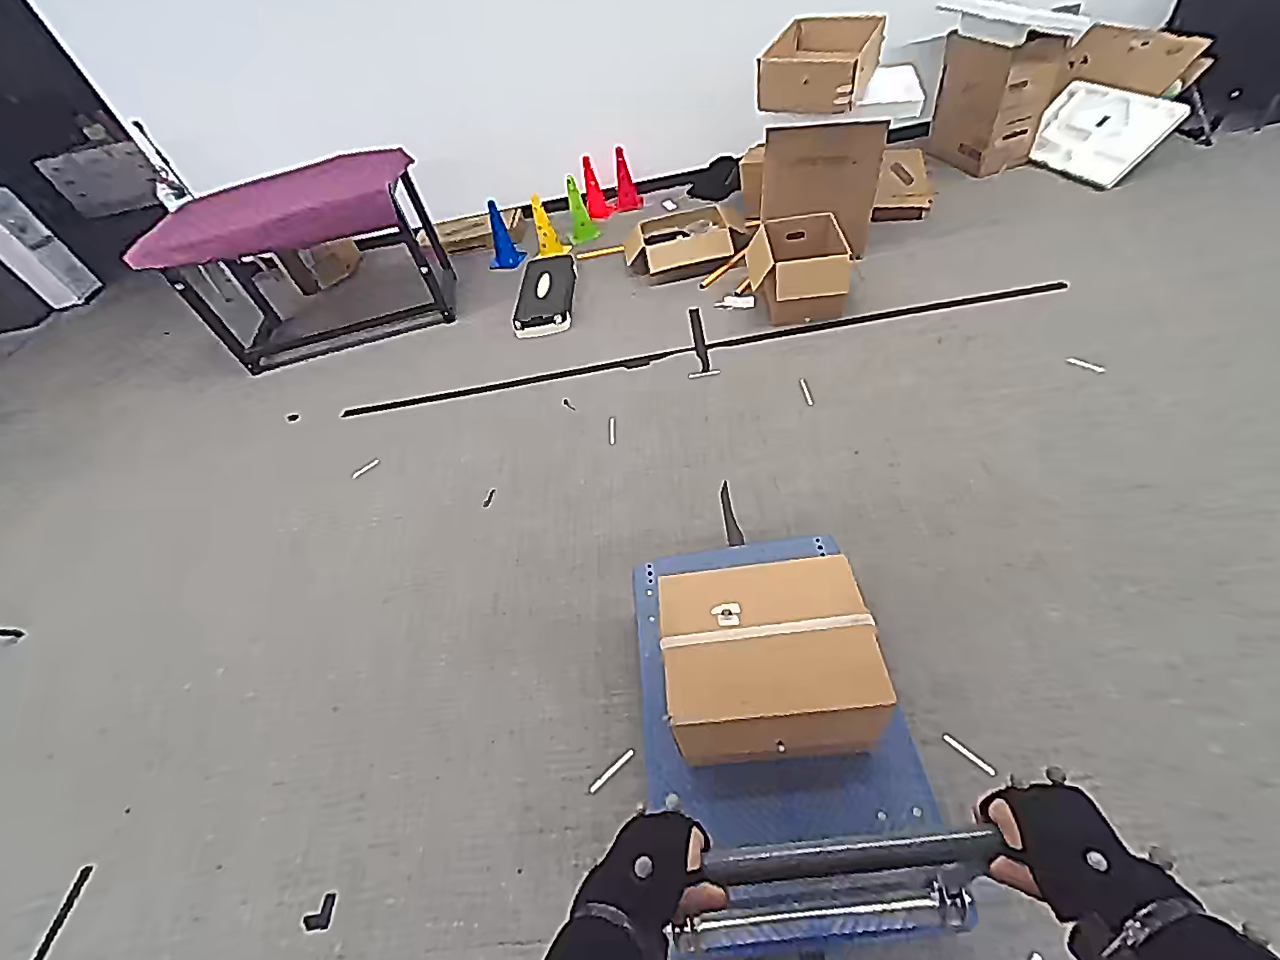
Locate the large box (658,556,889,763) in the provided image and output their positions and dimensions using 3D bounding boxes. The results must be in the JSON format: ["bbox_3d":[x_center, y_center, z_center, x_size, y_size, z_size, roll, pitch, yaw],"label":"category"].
[{"bbox_3d":[0.270,0.401,1.185,0.408,0.320,0.320,-9,47,6],"label":"large box"}]
